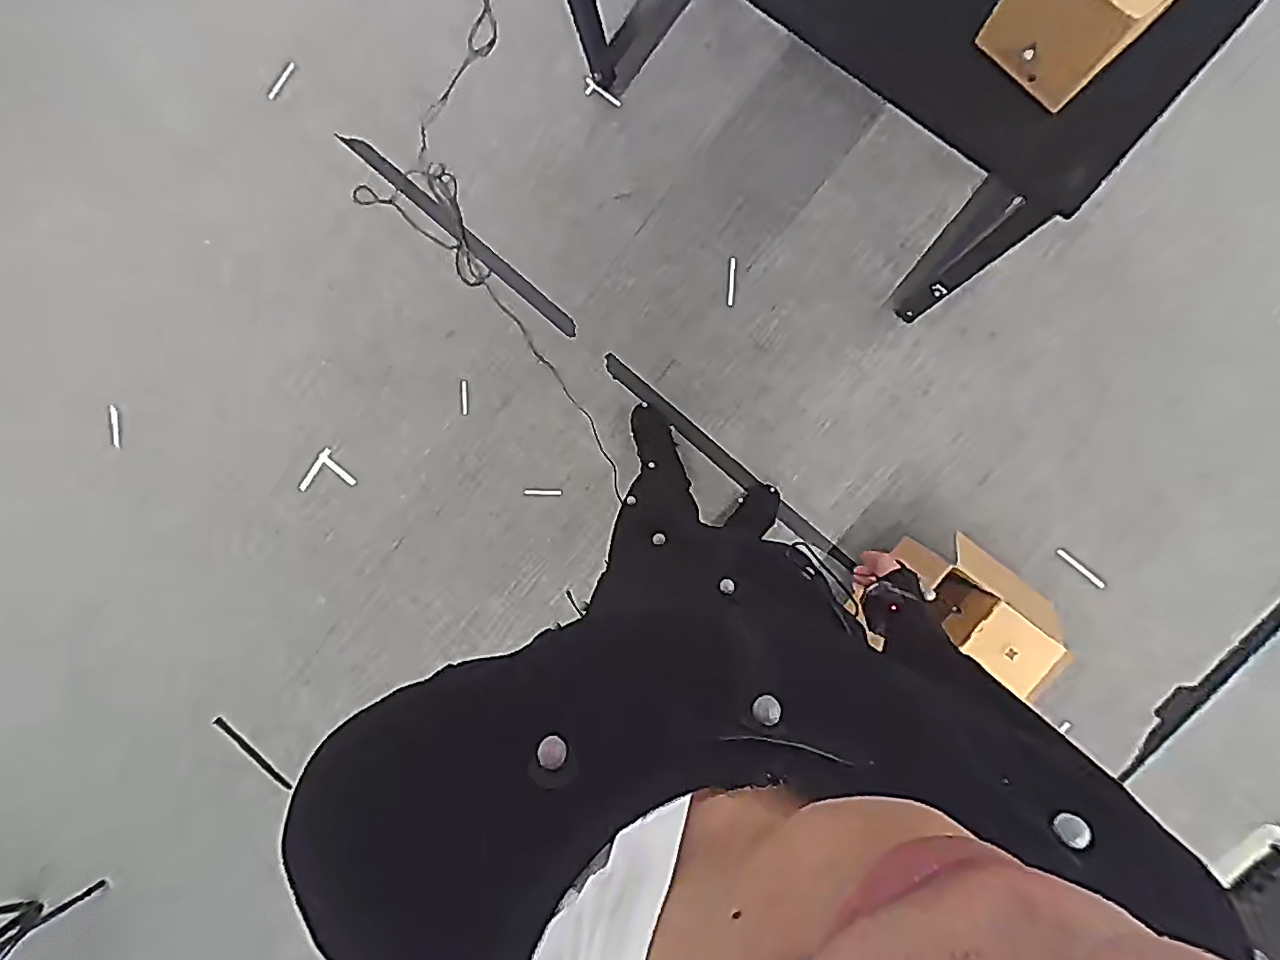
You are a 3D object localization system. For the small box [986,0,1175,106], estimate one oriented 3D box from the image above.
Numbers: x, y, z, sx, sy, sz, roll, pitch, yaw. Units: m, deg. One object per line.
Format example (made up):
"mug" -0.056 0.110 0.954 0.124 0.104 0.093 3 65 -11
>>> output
"small box" 0.619 -0.666 0.723 0.179 0.176 0.168 -43 85 7
